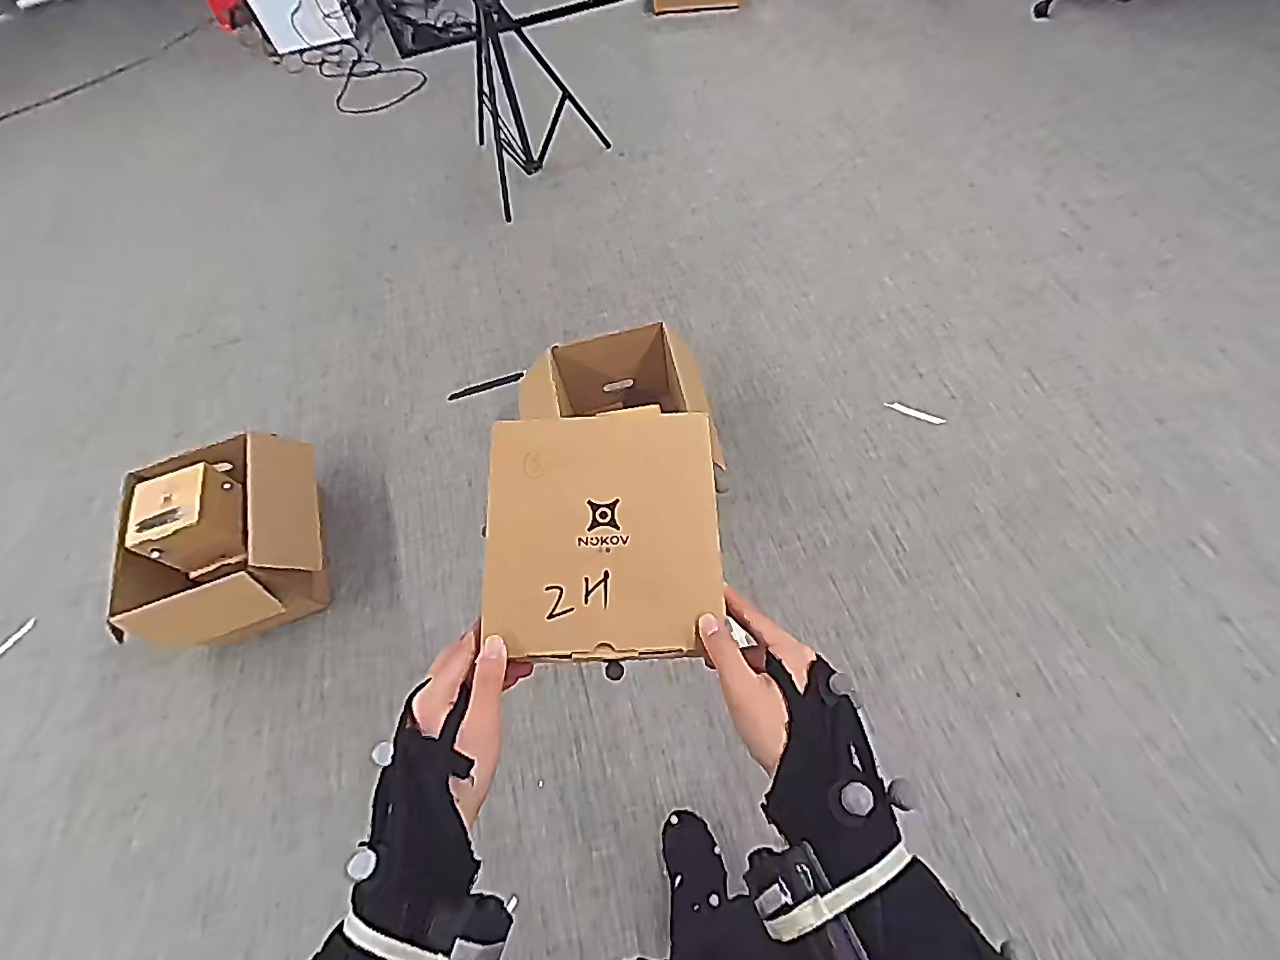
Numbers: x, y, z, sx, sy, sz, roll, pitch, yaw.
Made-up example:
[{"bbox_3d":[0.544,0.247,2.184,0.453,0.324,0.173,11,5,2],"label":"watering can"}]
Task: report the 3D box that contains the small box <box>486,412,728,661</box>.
[{"bbox_3d":[-0.023,0.058,0.465,0.168,0.176,0.179,-2,70,1],"label":"small box"}]
